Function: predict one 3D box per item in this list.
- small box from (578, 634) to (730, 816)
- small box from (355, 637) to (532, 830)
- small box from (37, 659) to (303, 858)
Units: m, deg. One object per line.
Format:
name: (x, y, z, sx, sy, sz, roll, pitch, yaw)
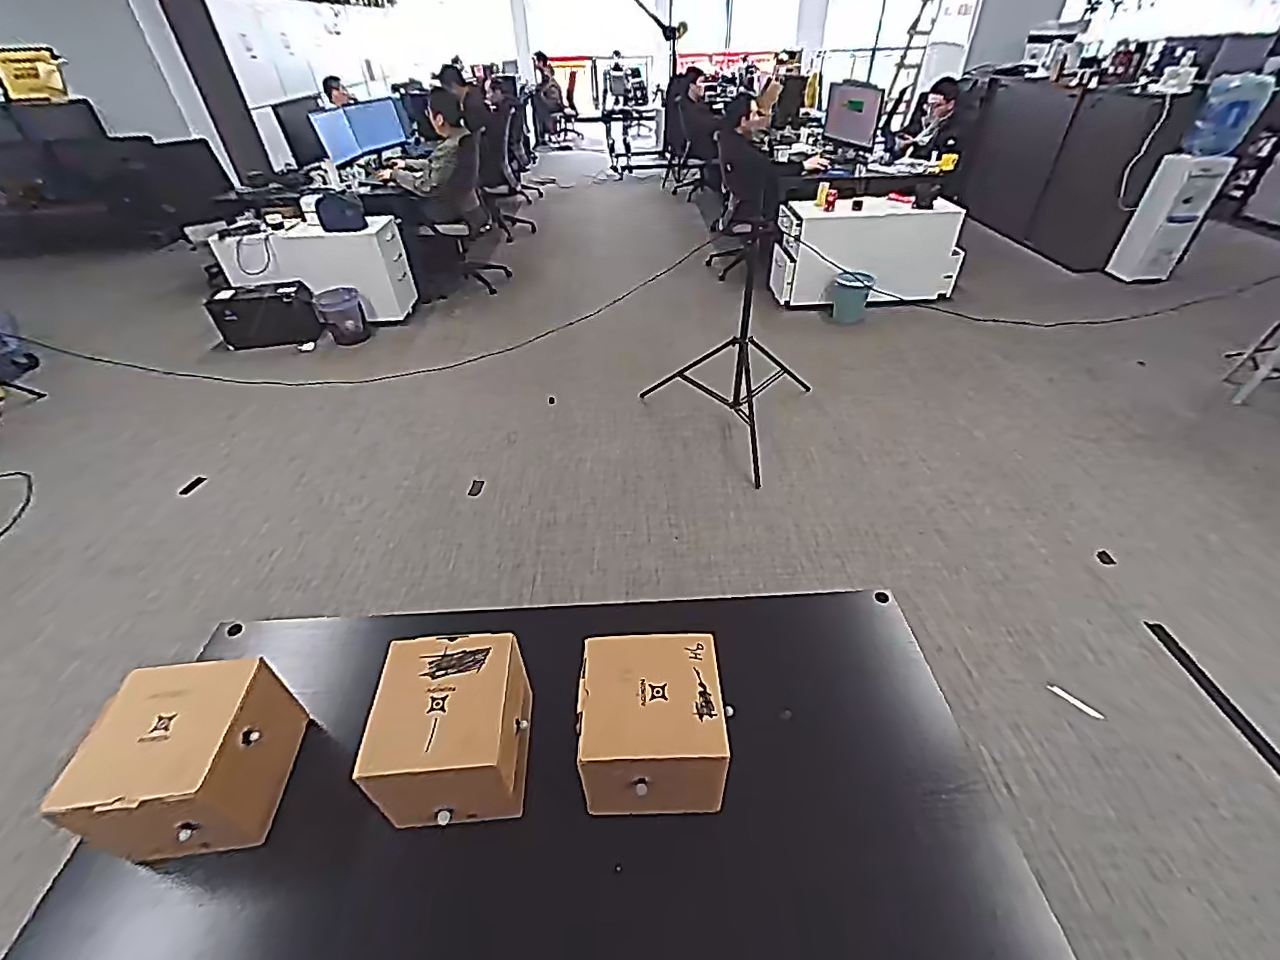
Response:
small box: (0.019, 0.326, 0.717, 0.179, 0.176, 0.168, -3, 40, 0)
small box: (-0.241, 0.333, 0.717, 0.168, 0.176, 0.179, -4, 41, -2)
small box: (-0.572, 0.360, 0.697, 0.168, 0.176, 0.179, -4, 39, -5)
